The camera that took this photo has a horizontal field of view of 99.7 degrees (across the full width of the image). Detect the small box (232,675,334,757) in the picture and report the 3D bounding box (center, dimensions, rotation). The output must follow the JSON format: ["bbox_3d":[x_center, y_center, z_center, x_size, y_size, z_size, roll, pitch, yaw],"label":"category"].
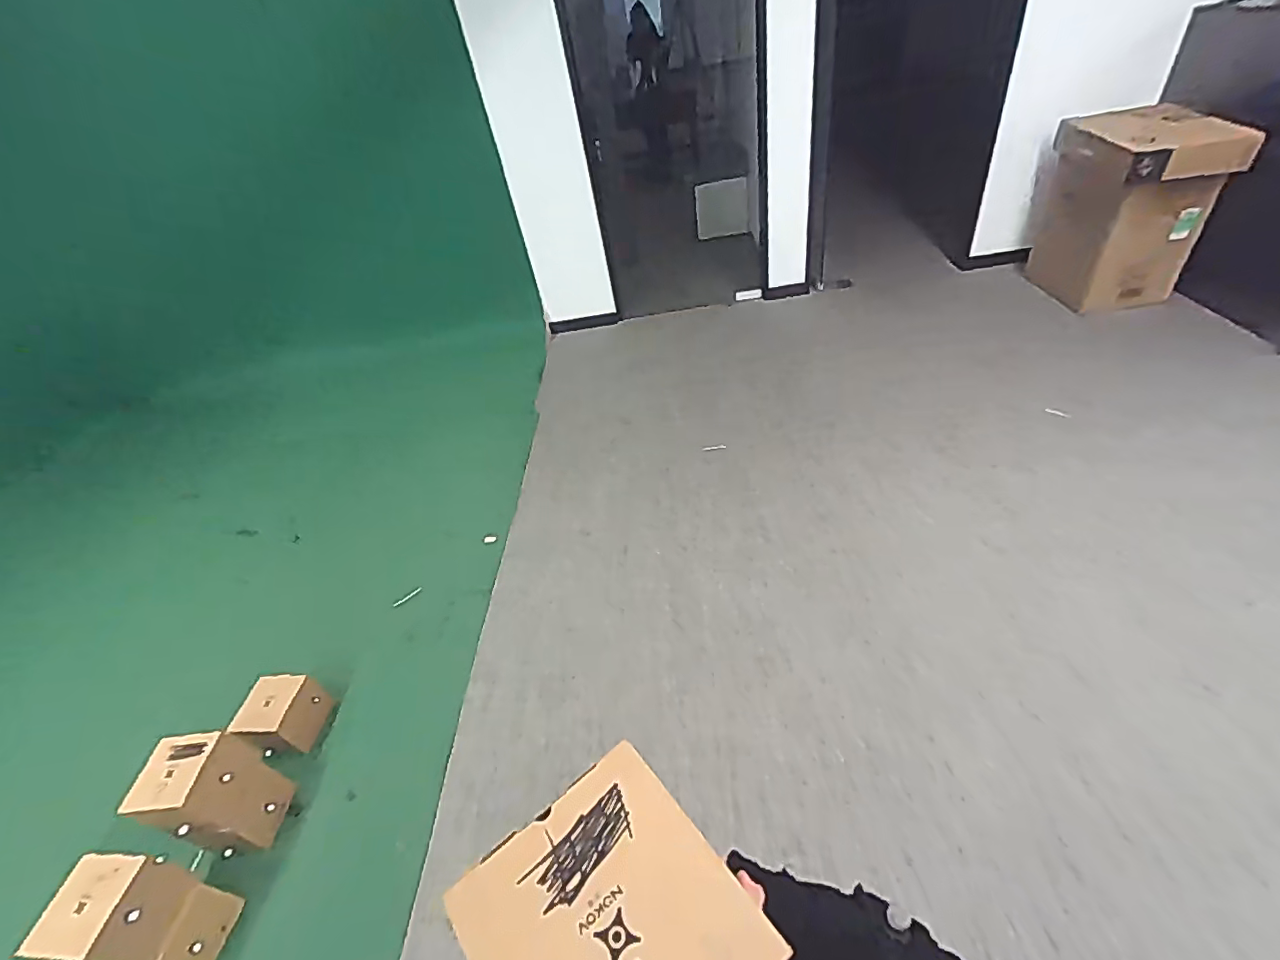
[{"bbox_3d":[-1.081,0.722,1.658,0.168,0.176,0.179,-4,41,10],"label":"small box"}]

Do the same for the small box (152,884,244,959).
[{"bbox_3d":[-1.091,1.059,1.267,0.179,0.176,0.168,-4,41,11],"label":"small box"}]

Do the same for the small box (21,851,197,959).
[{"bbox_3d":[-1.127,0.931,1.169,0.168,0.176,0.179,-4,41,10],"label":"small box"}]
